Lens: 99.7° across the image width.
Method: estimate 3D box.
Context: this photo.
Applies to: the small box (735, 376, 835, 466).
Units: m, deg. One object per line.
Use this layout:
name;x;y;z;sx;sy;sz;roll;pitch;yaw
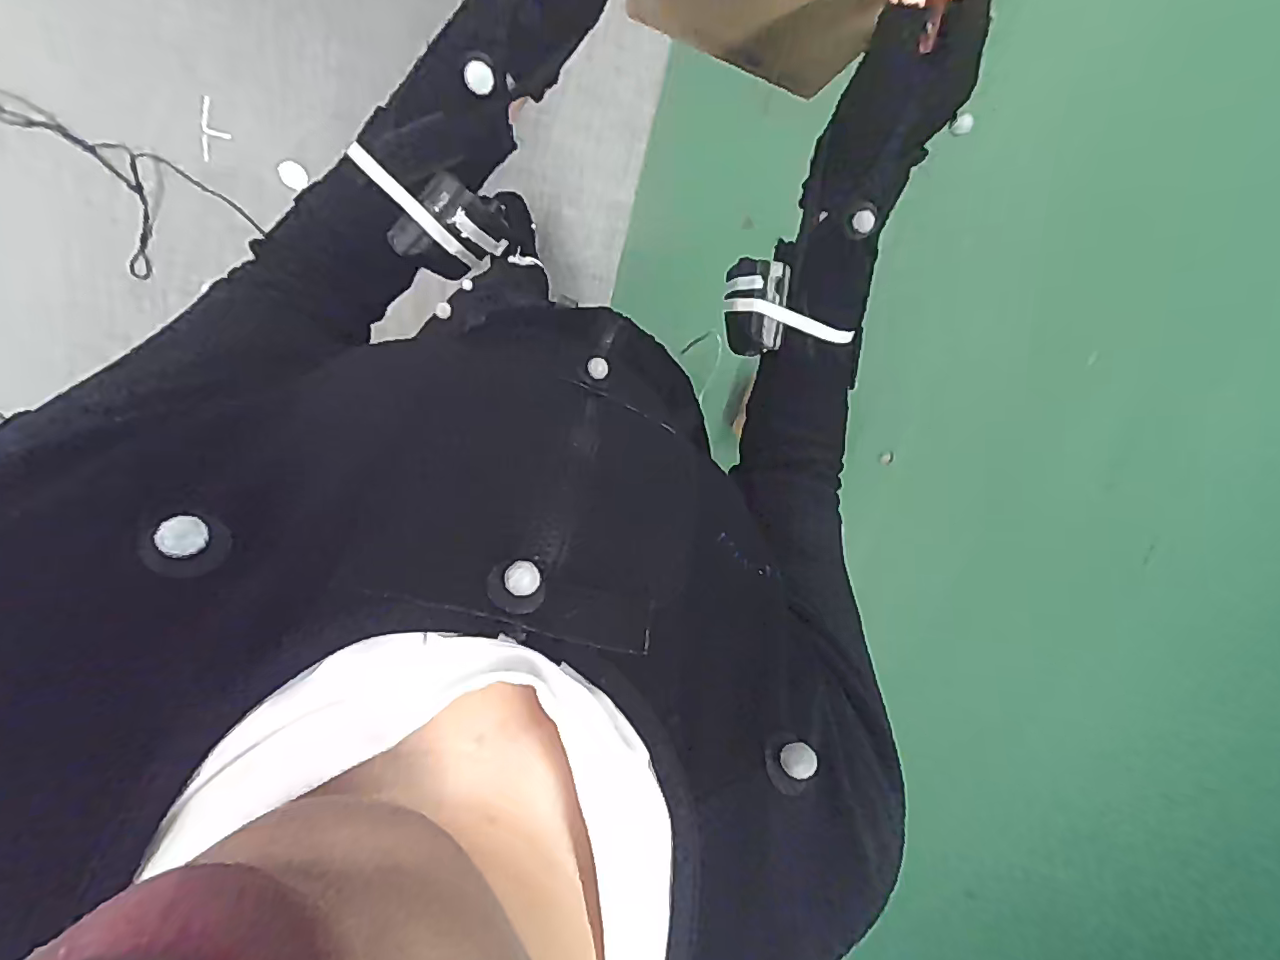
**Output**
small box;0.359;-0.156;1.373;0.179;0.176;0.168;17;107;-5
